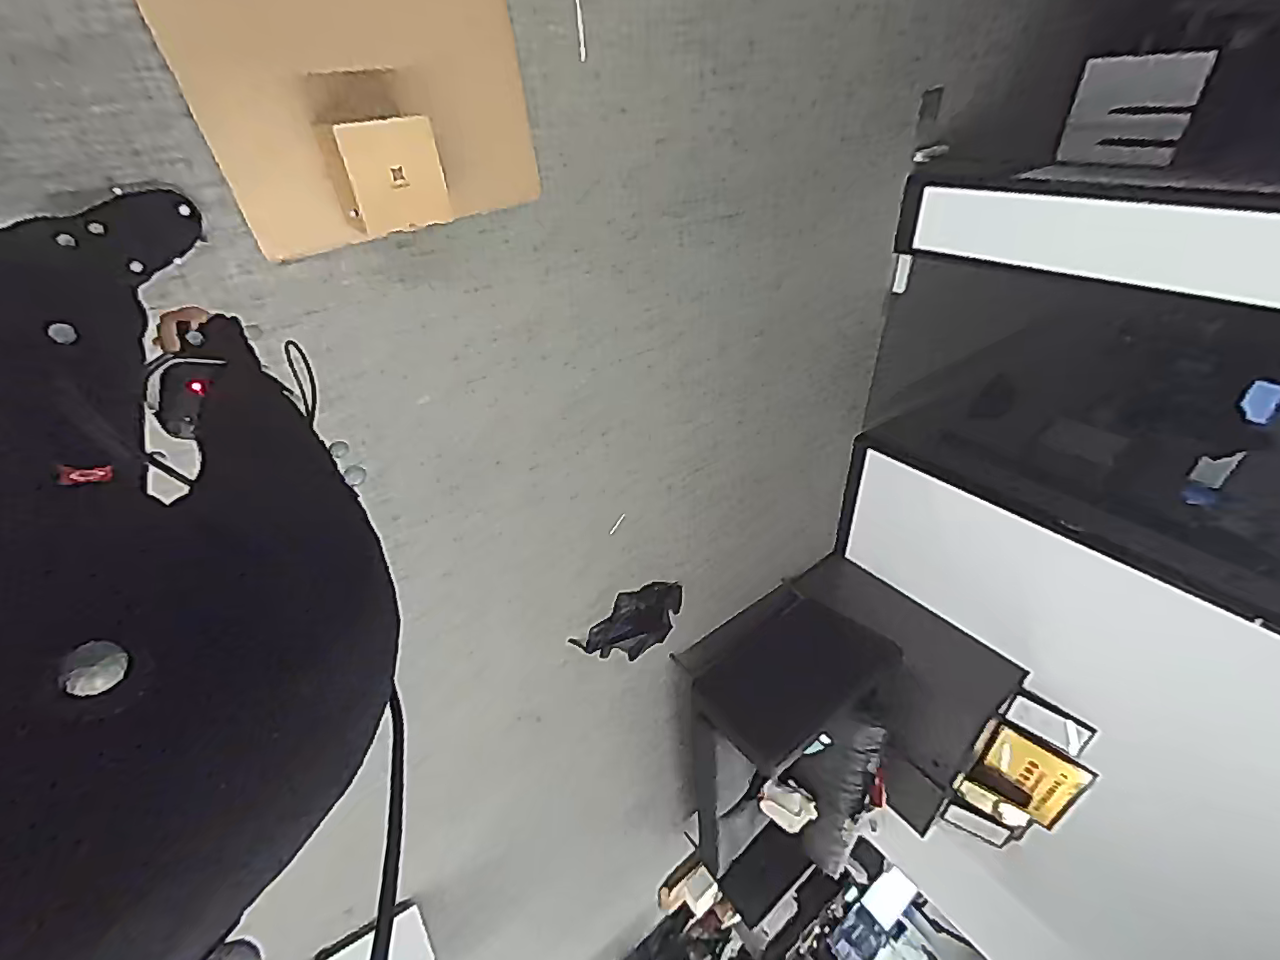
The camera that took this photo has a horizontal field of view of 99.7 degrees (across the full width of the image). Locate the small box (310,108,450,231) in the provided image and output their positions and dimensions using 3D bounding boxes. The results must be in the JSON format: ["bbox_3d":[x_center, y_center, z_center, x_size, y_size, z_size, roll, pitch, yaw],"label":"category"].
[{"bbox_3d":[-0.486,-0.583,1.012,0.168,0.176,0.179,-27,133,-27],"label":"small box"}]
